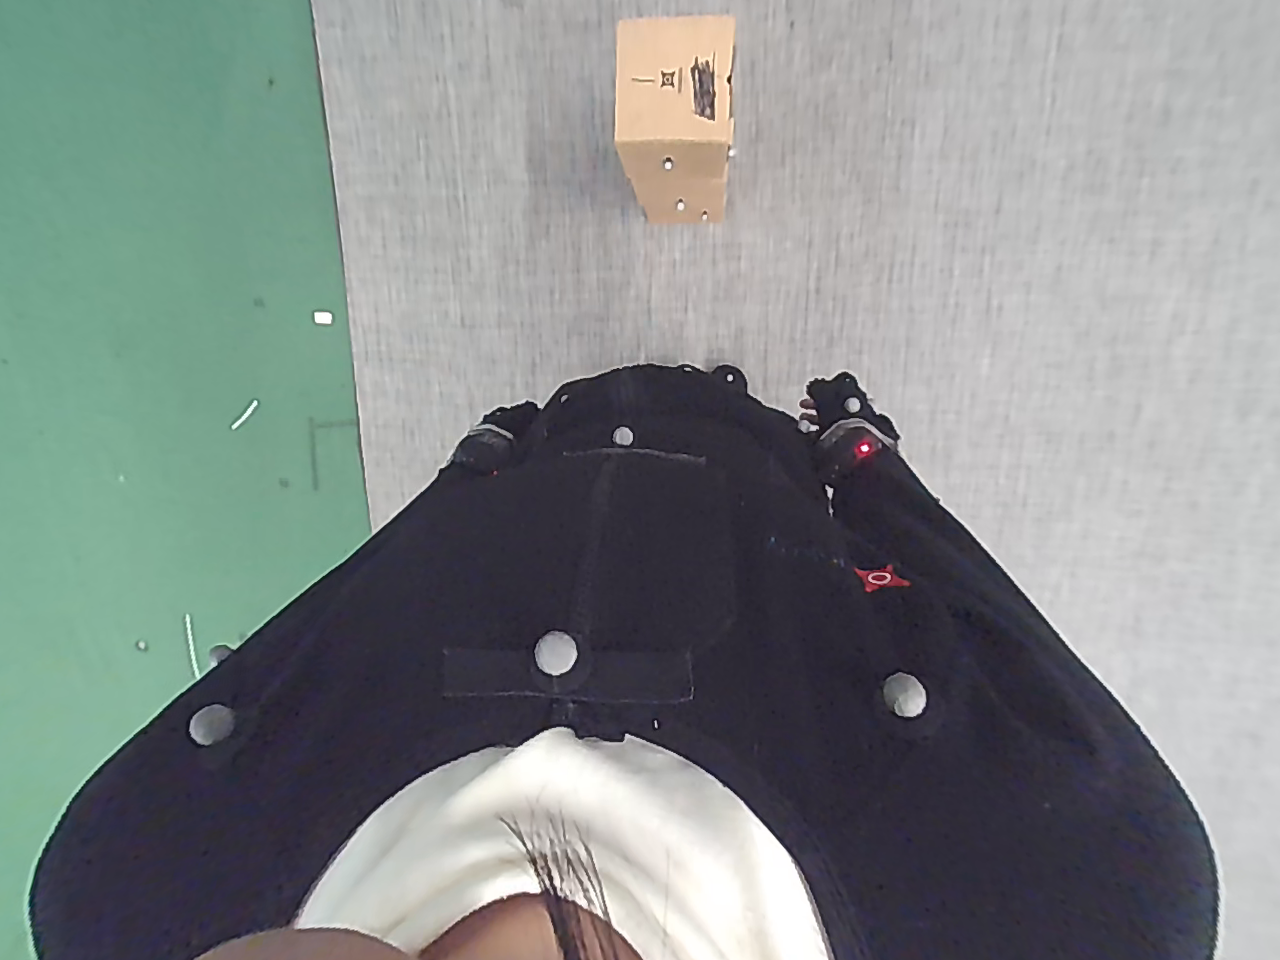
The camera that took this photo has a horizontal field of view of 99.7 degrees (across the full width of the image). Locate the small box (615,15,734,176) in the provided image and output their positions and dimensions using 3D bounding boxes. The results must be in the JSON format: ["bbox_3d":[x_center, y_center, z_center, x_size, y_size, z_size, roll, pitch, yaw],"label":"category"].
[{"bbox_3d":[0.056,-0.611,0.881,0.179,0.176,0.168,1,103,5],"label":"small box"}]

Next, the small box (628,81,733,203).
[{"bbox_3d":[0.078,-0.646,1.041,0.179,0.176,0.168,6,103,5],"label":"small box"}]

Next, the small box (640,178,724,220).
[{"bbox_3d":[0.097,-0.687,1.198,0.179,0.176,0.168,2,102,8],"label":"small box"}]
